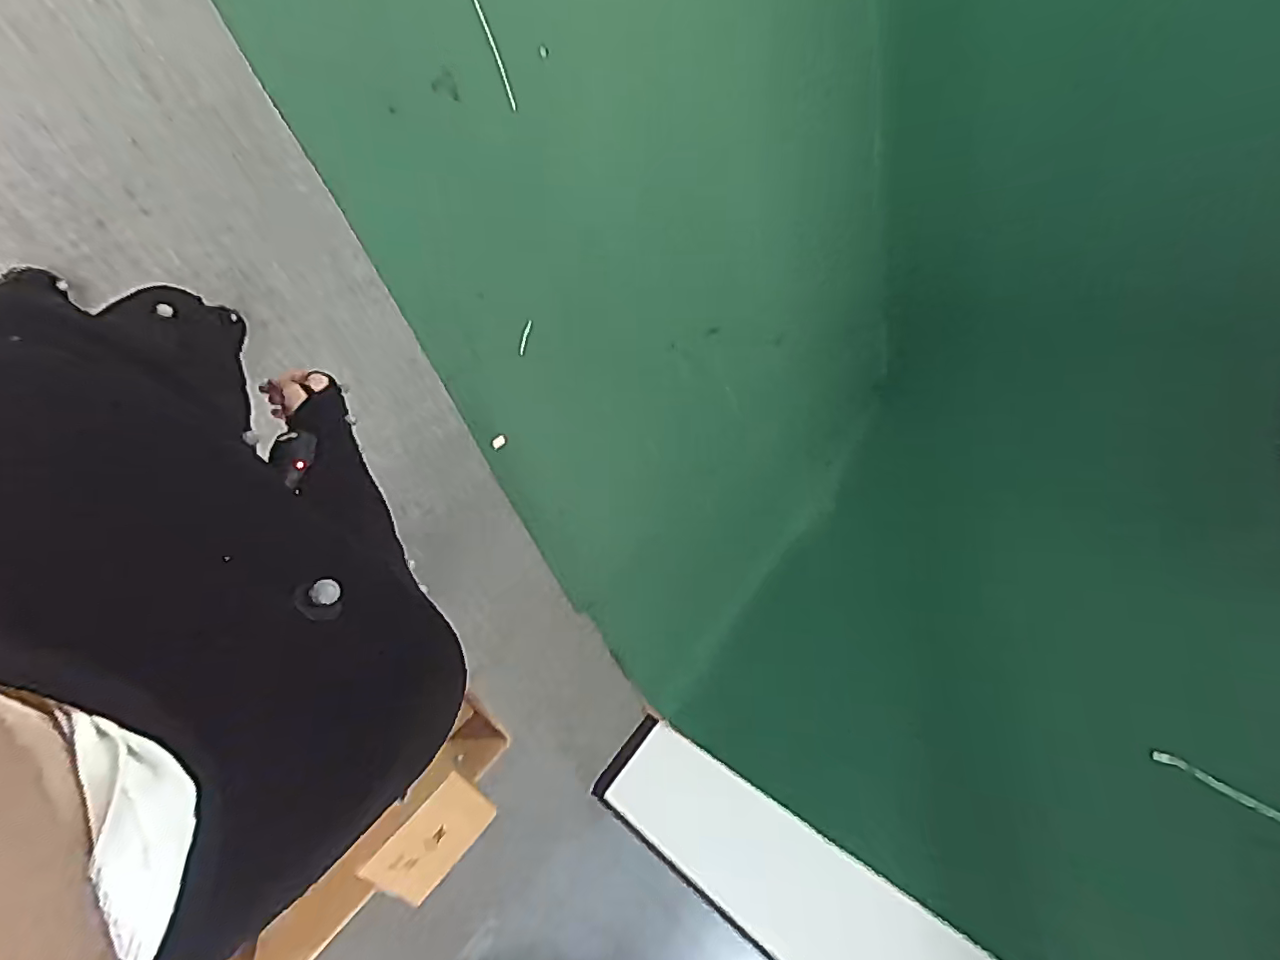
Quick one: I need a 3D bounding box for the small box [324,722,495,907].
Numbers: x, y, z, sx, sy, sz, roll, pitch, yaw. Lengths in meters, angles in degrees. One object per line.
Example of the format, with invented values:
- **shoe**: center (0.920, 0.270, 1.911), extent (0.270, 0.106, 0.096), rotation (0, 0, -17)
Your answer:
- **small box**: center (-0.386, 0.551, 0.910), extent (0.179, 0.176, 0.168), rotation (-43, 131, -28)
